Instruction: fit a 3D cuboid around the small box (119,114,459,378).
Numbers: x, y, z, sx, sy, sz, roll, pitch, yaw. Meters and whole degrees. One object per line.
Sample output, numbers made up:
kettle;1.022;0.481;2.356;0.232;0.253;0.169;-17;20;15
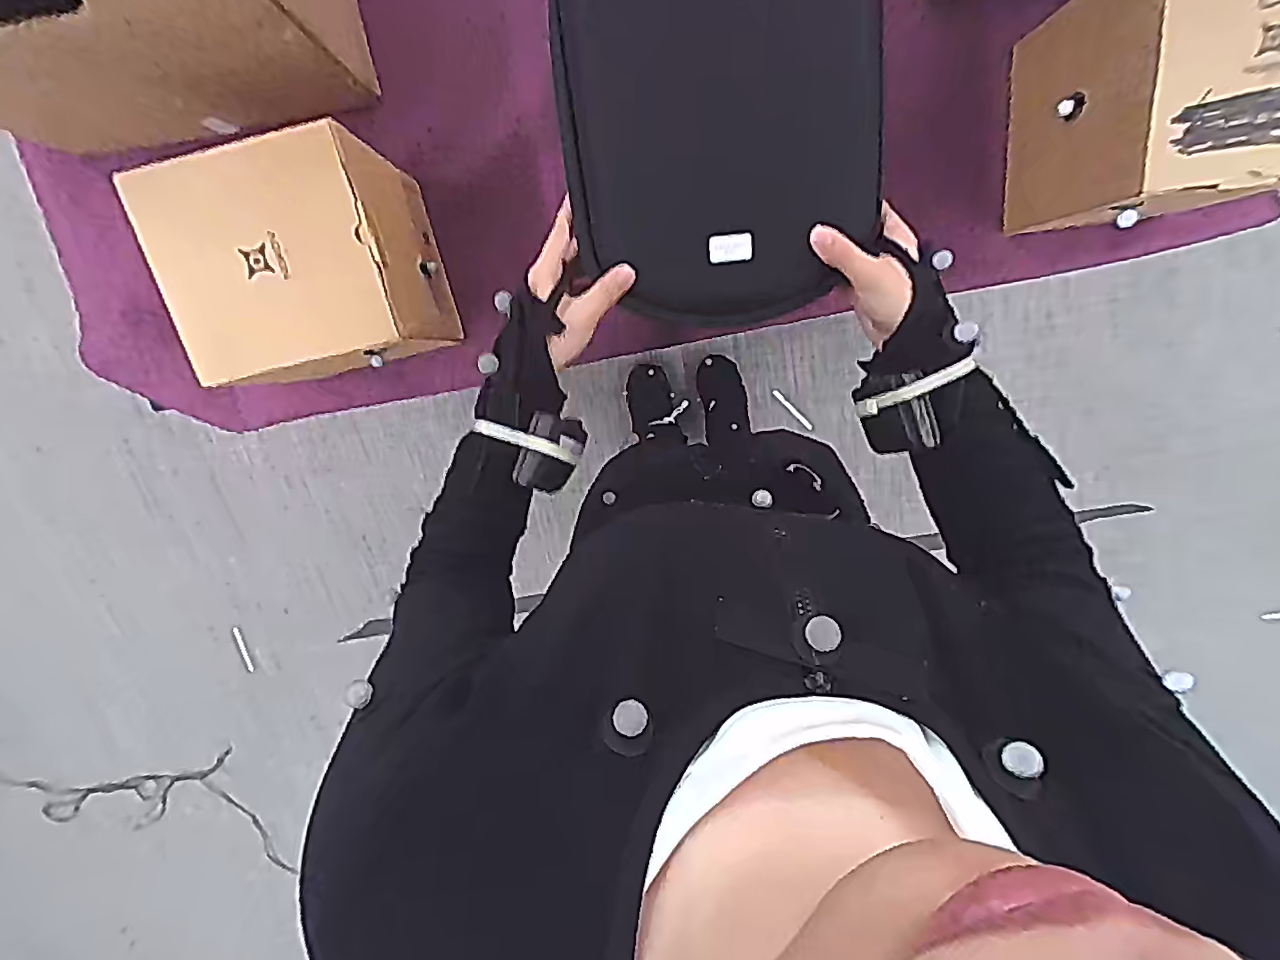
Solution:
small box;-0.297;-0.196;0.503;0.179;0.176;0.168;-14;104;2

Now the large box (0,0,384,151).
large box;-0.430;-0.501;0.347;0.320;0.320;0.408;-11;107;1
